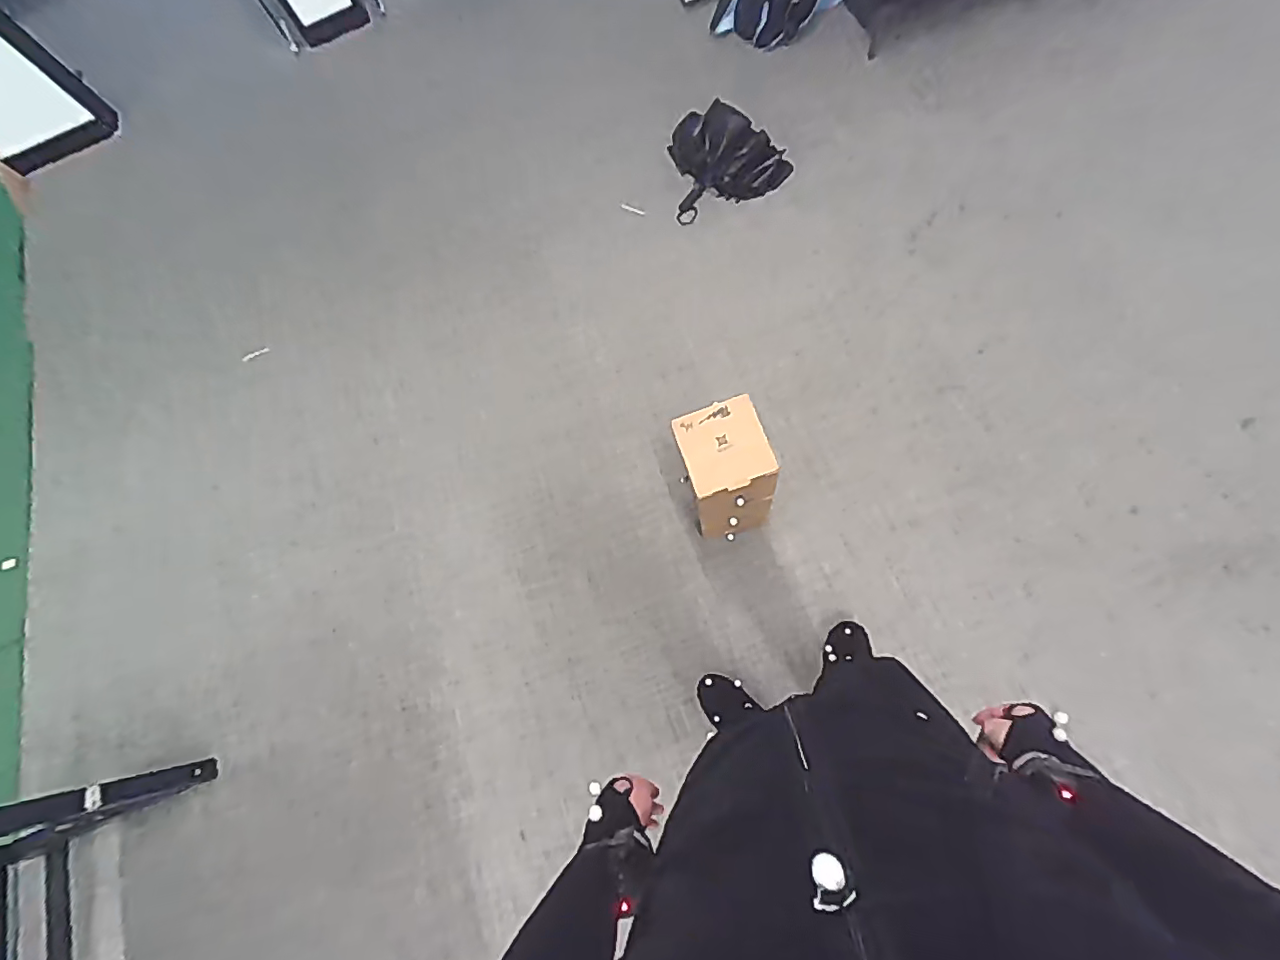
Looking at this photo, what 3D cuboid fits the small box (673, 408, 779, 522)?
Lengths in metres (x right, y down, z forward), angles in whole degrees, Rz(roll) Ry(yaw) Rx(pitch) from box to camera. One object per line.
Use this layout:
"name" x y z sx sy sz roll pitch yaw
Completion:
"small box" 0.180 -0.021 1.134 0.168 0.176 0.179 -18 71 3

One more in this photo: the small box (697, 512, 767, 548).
"small box" 0.235 0.071 1.443 0.168 0.176 0.179 -11 72 6

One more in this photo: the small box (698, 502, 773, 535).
"small box" 0.212 0.021 1.288 0.168 0.176 0.179 -10 72 6
